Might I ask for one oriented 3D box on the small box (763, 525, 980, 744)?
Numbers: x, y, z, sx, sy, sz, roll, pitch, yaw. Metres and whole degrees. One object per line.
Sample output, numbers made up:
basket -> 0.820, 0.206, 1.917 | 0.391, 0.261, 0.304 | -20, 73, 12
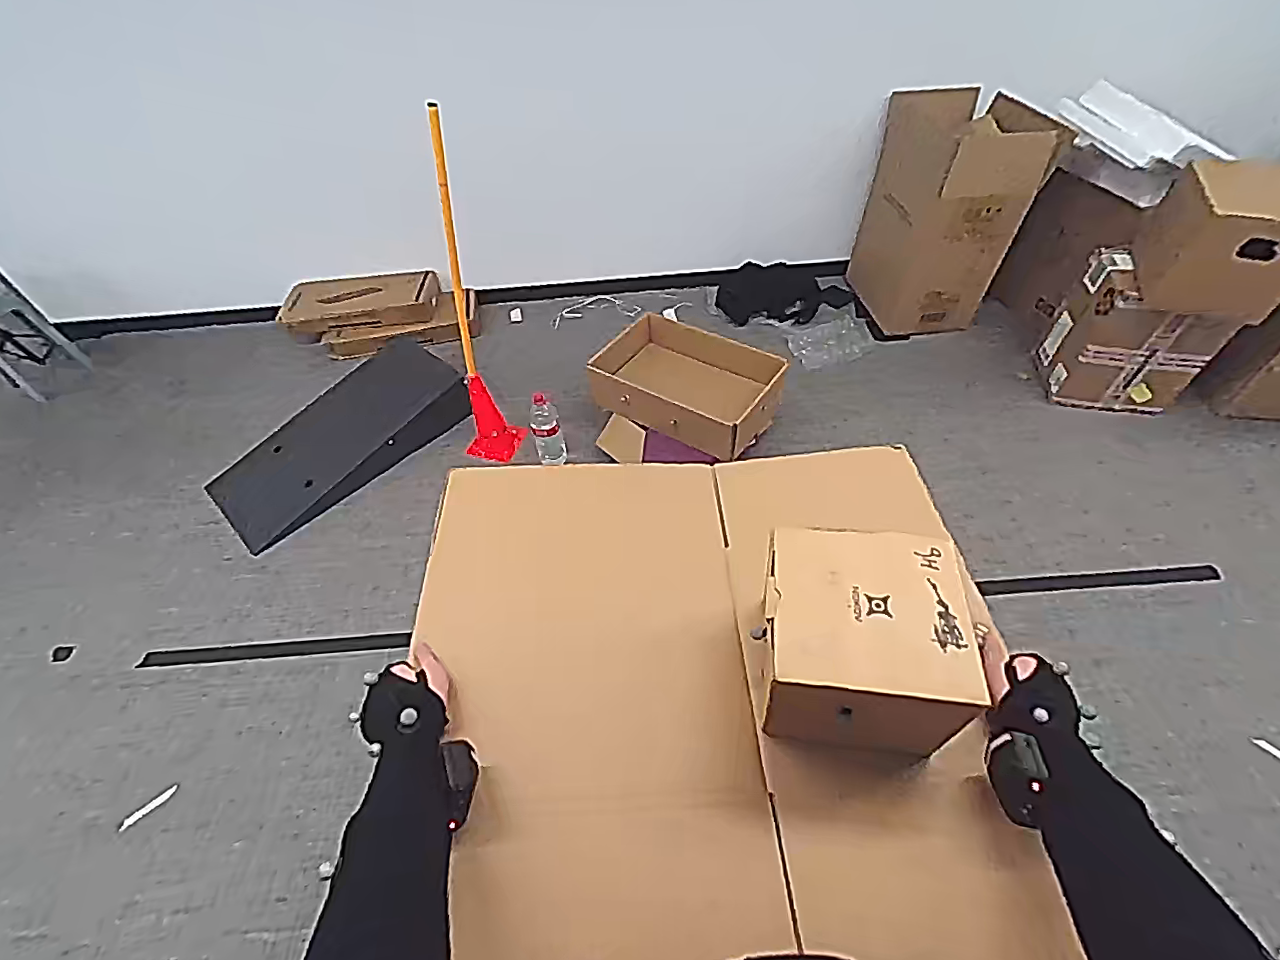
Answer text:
small box -> 0.223, 0.165, 0.575 | 0.179, 0.176, 0.168 | 2, 52, 12
